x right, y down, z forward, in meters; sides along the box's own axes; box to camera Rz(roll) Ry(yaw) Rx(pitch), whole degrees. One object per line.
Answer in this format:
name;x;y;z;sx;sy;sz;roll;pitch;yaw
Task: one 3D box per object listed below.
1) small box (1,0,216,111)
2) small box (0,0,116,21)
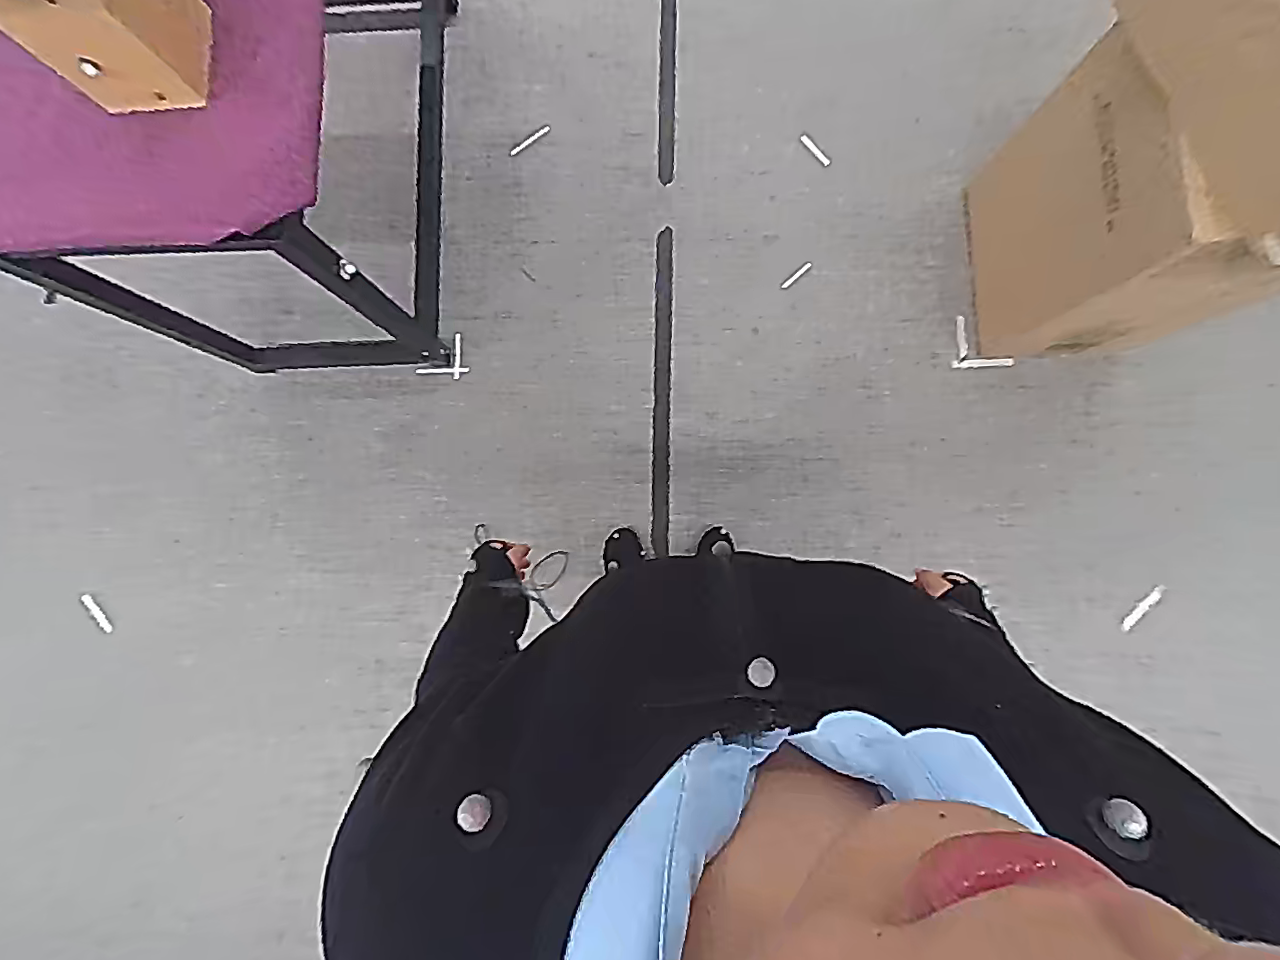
small box;-0.784;-0.693;0.815;0.168;0.176;0.179;-4;84;1
small box;-0.785;-0.711;0.651;0.168;0.176;0.179;-4;84;2
